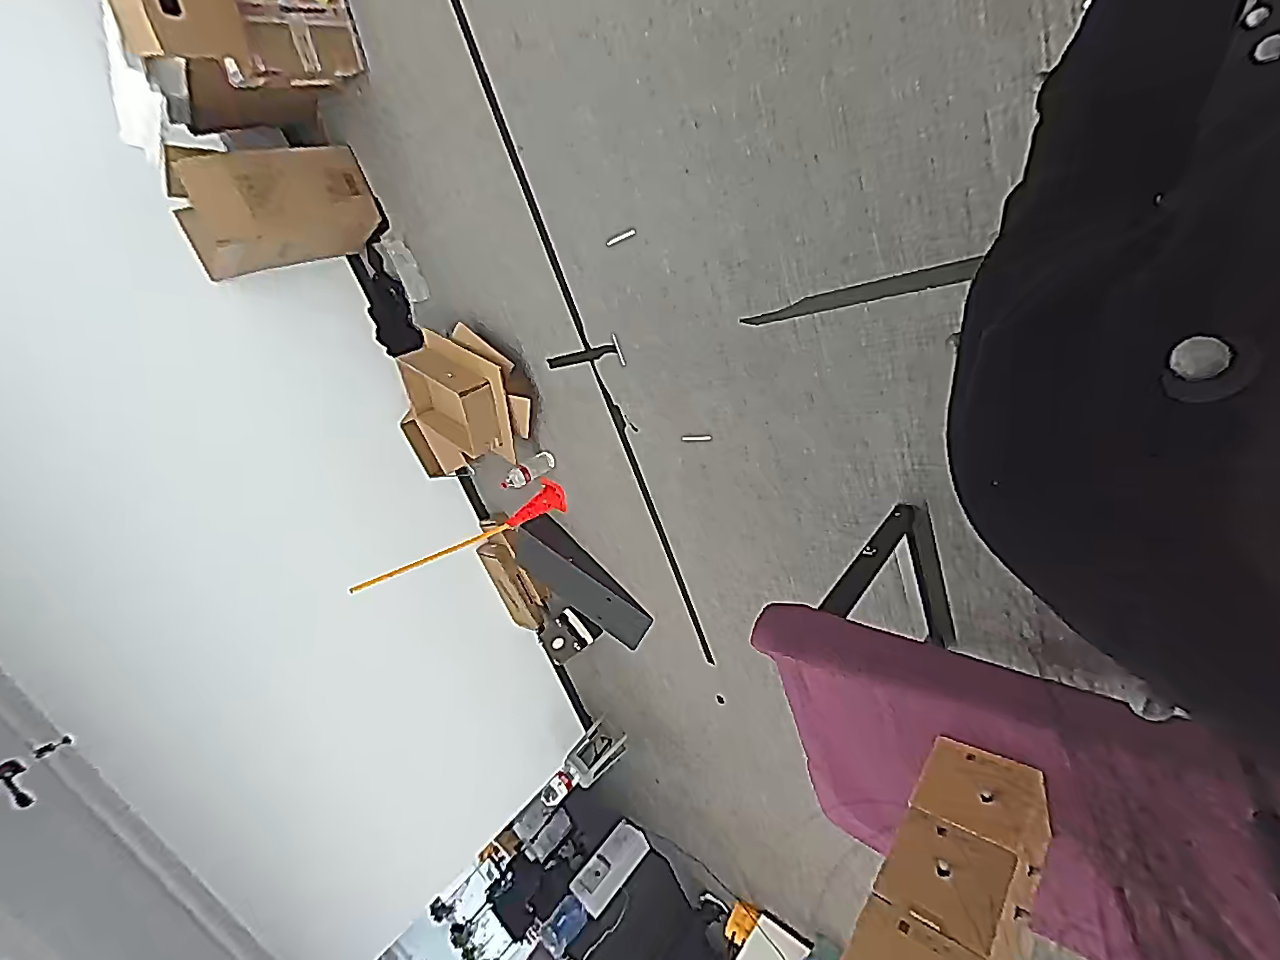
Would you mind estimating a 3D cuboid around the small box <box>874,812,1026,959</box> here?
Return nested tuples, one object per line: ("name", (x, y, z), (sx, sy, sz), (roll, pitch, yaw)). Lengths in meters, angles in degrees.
("small box", (0.504, 0.689, 0.874), (0.168, 0.176, 0.179), (4, 121, 48))

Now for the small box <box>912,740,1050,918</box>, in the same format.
("small box", (0.612, 0.607, 0.967), (0.168, 0.176, 0.179), (2, 120, 48))
